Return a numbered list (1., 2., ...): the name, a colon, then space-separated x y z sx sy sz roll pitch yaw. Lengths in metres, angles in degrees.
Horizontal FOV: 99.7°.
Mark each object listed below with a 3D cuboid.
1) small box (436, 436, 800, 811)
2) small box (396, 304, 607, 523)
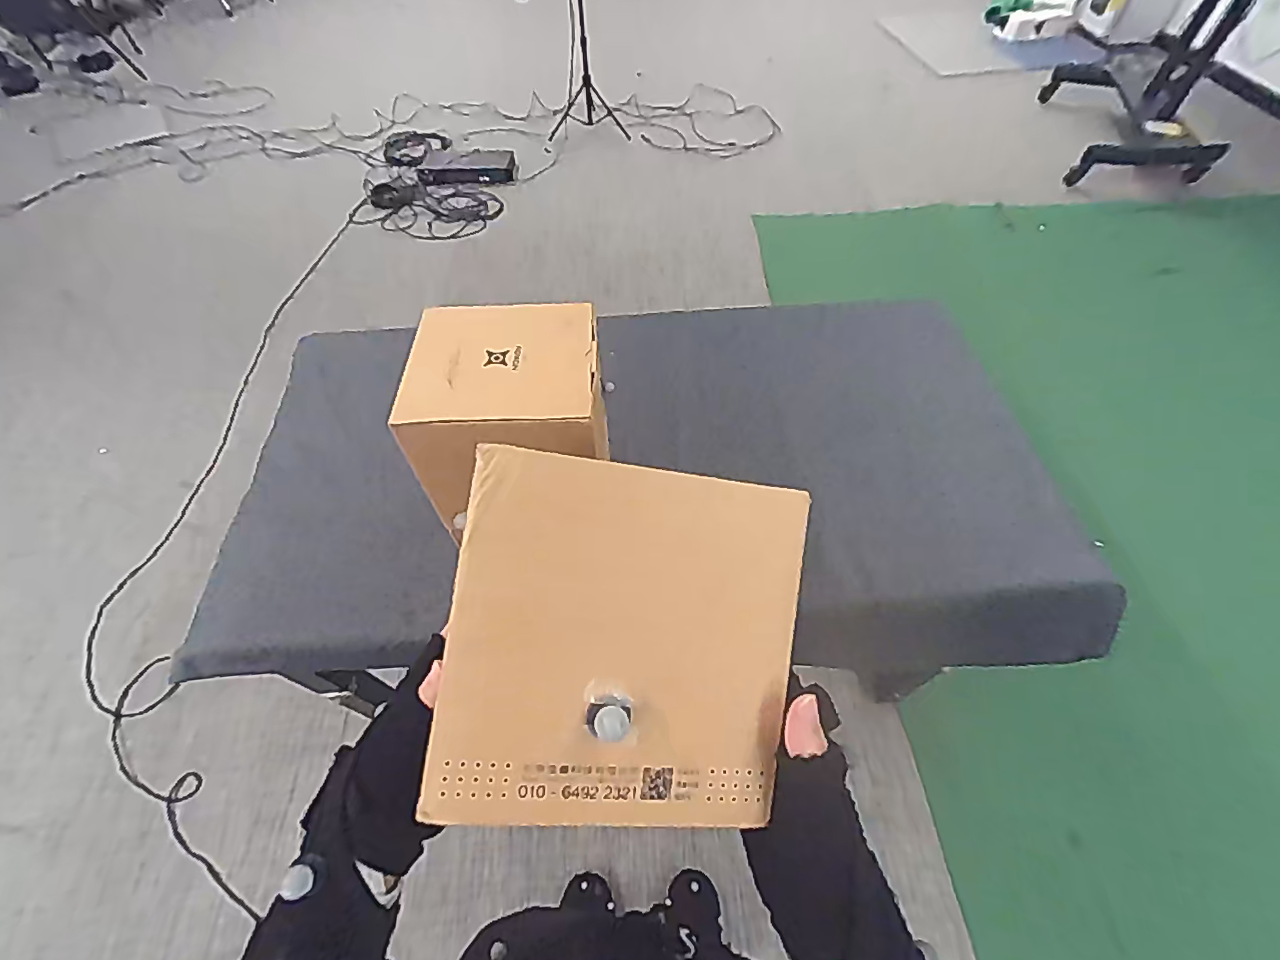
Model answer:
1. small box: -0.024 0.075 0.344 0.168 0.179 0.176 8 88 -12
2. small box: -0.127 -0.067 0.580 0.179 0.176 0.168 -3 52 0
